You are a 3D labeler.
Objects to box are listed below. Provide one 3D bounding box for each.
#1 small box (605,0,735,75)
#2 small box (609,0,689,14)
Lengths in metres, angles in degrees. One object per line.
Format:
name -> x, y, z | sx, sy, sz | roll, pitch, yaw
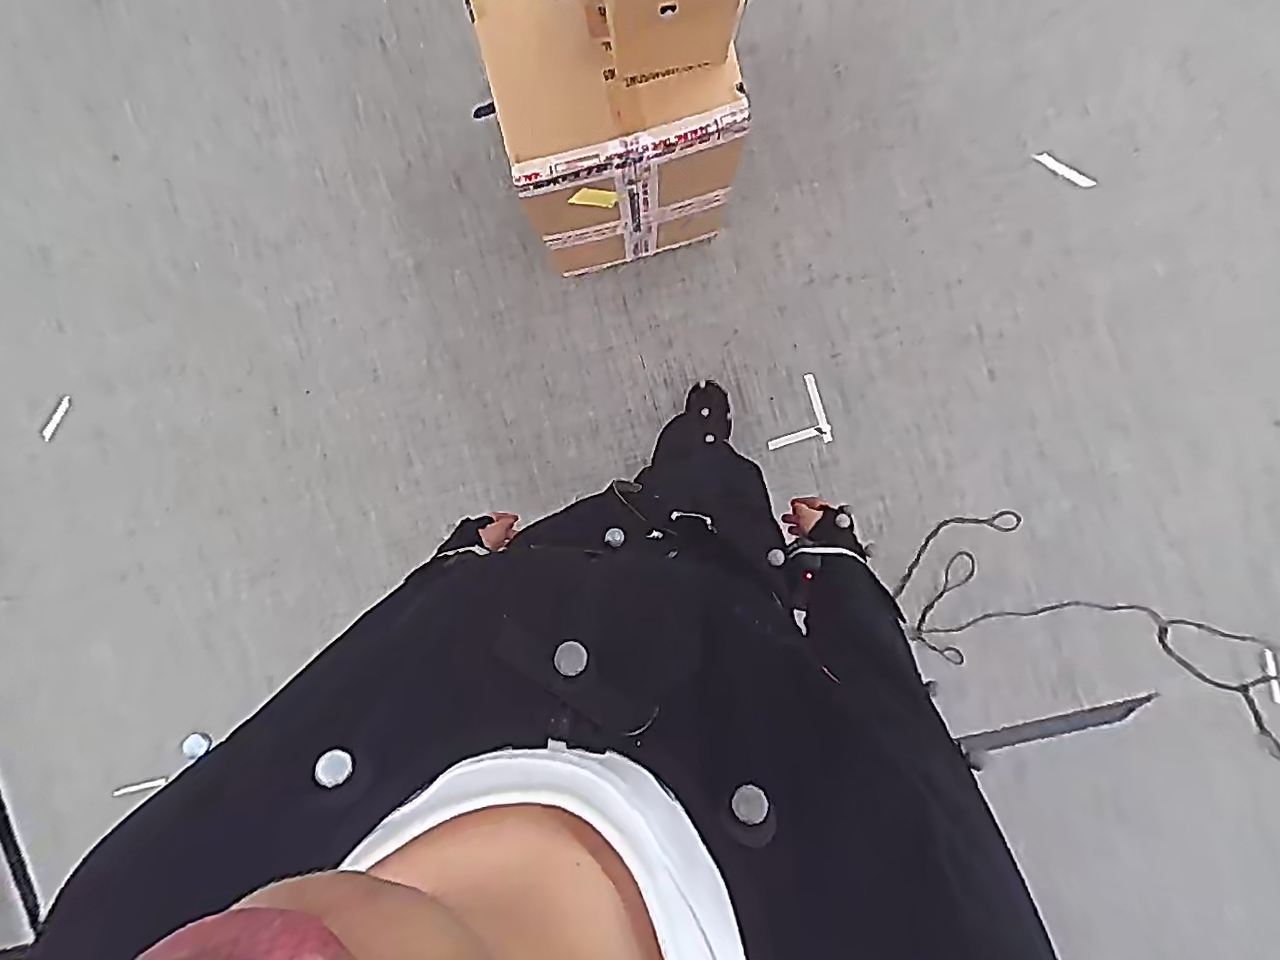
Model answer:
small box -> 0.036, -0.704, 0.749 | 0.179, 0.176, 0.168 | -9, 95, 1
small box -> 0.035, -0.666, 0.586 | 0.179, 0.176, 0.168 | -13, 94, 1
